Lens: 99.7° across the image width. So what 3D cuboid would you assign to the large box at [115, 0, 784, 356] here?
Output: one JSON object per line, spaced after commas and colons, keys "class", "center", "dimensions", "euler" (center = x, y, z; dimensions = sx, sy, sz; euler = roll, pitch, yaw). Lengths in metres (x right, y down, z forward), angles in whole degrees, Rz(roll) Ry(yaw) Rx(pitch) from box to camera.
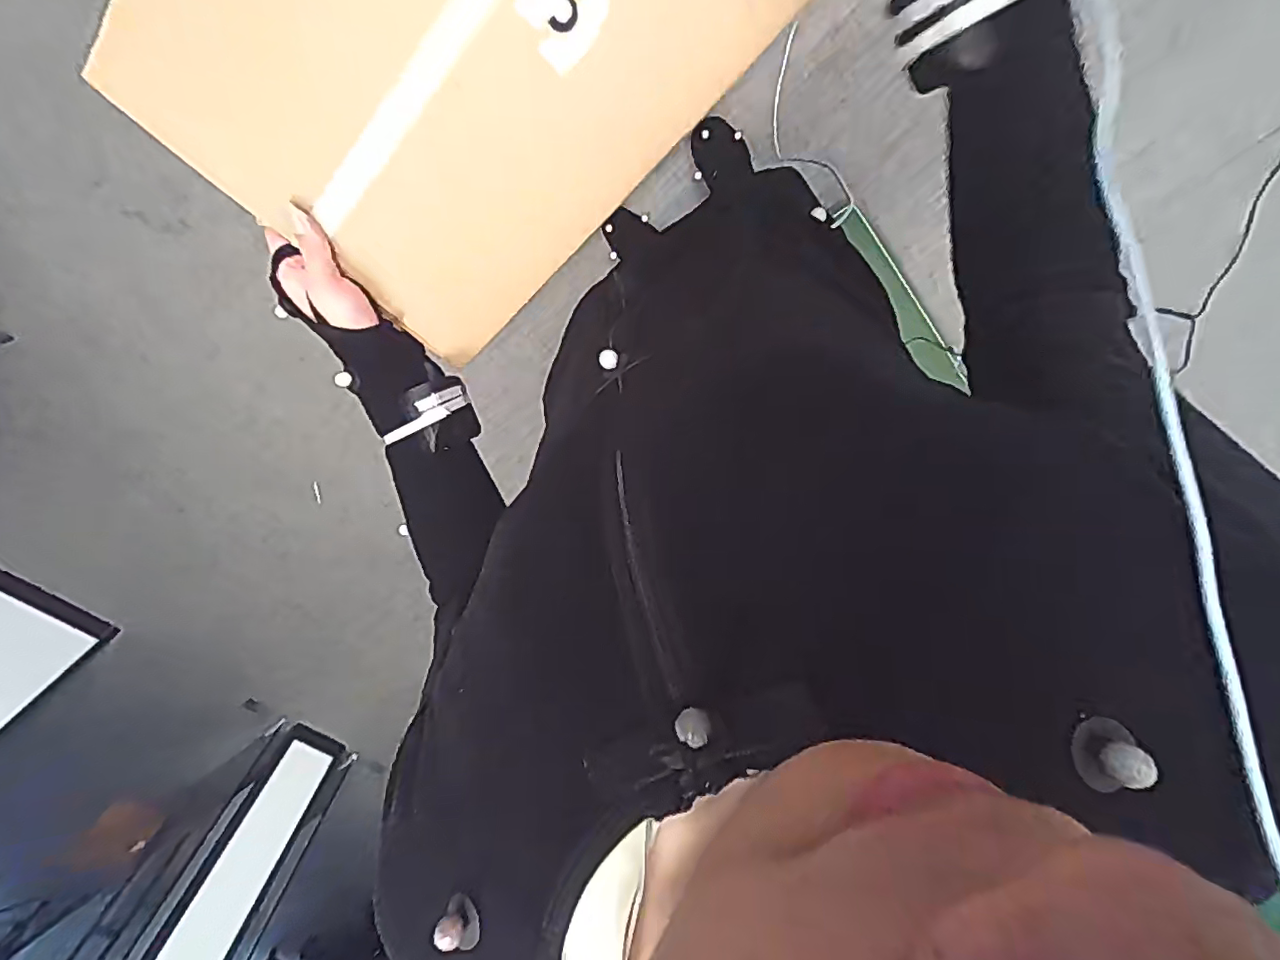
{"class": "large box", "center": [-0.145, -0.404, 0.504], "dimensions": [0.408, 0.320, 0.320], "euler": [-39, 121, 21]}
